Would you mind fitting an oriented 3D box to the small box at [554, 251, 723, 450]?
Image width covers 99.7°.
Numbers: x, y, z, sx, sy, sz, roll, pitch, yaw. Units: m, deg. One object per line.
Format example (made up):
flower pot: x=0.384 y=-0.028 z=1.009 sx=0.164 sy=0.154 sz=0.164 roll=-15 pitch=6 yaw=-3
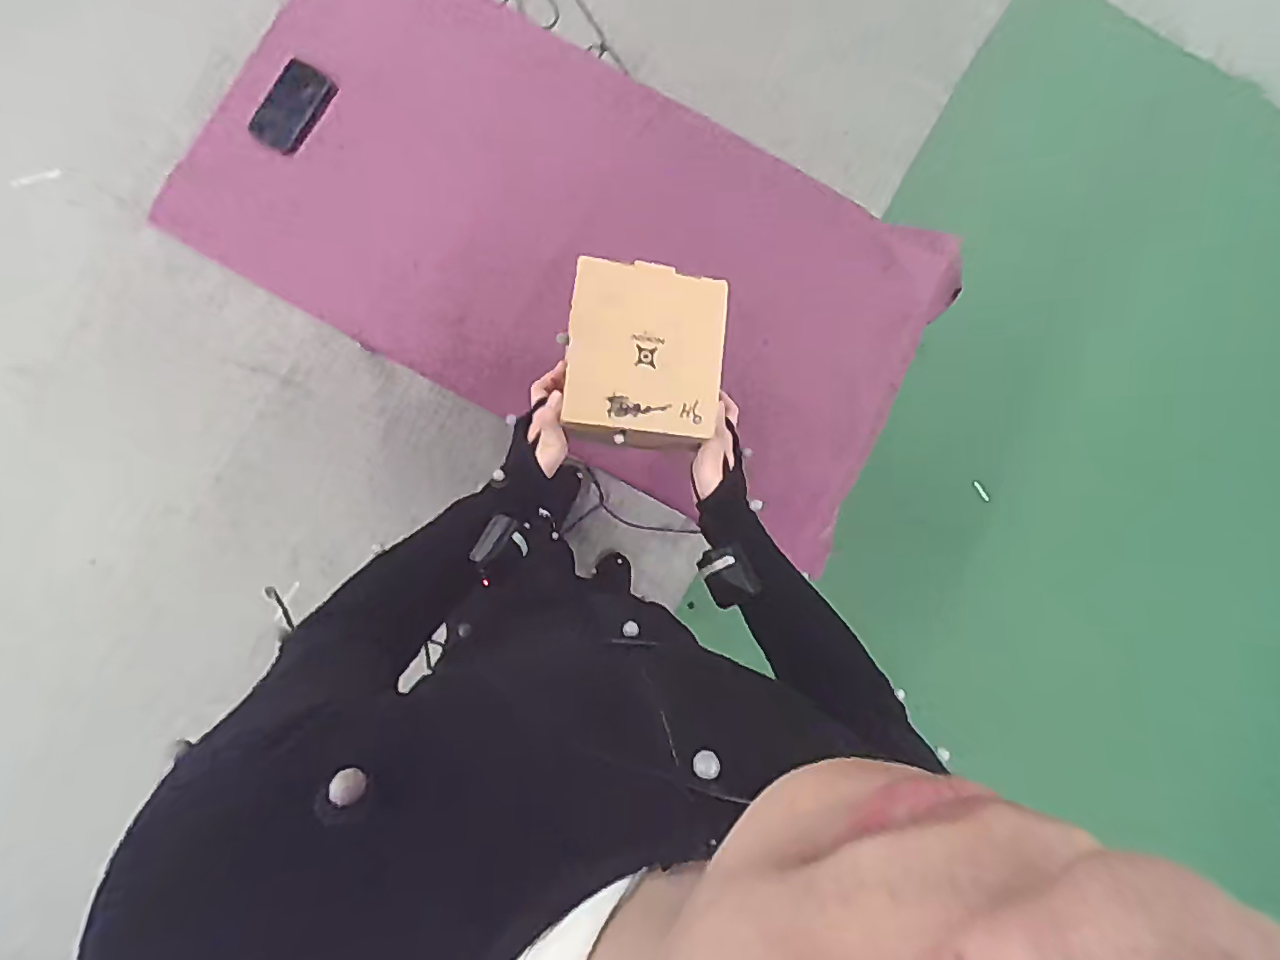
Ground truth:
small box: x=-0.012 y=-0.138 z=0.641 sx=0.168 sy=0.176 sz=0.179 roll=6 pitch=87 yaw=-9
